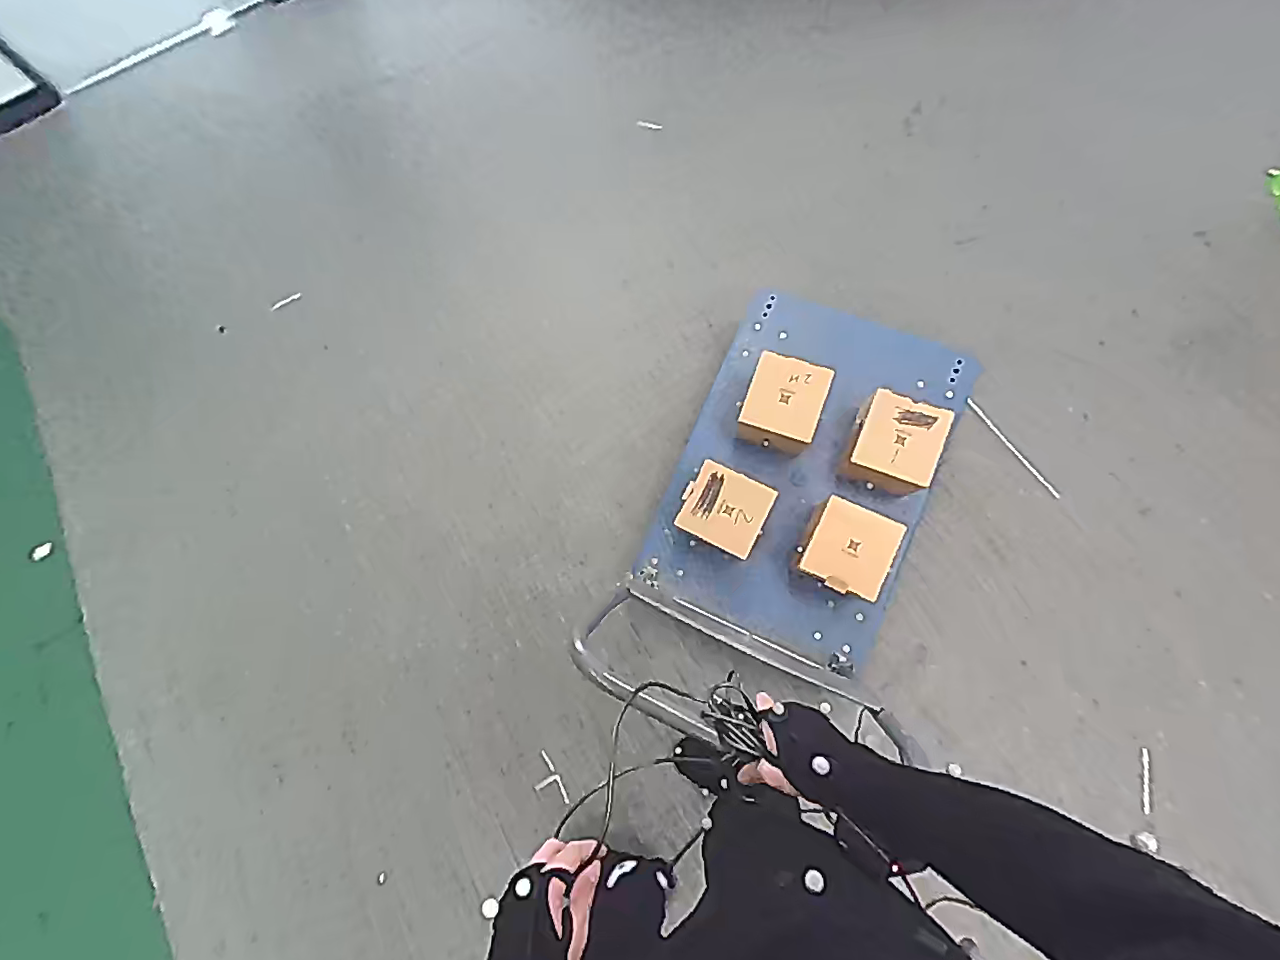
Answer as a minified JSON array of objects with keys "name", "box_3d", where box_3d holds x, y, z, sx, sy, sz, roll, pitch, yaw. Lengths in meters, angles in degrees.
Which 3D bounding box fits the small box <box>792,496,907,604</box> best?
[{"name":"small box","box_3d":[0.451,0.154,1.198,0.168,0.176,0.179,25,87,11]}]

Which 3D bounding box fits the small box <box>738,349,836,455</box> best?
[{"name":"small box","box_3d":[0.335,-0.173,1.261,0.168,0.176,0.179,21,85,10]}]

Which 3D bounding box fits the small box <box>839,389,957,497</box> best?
[{"name":"small box","box_3d":[0.567,-0.076,1.213,0.168,0.176,0.179,23,86,11]}]
